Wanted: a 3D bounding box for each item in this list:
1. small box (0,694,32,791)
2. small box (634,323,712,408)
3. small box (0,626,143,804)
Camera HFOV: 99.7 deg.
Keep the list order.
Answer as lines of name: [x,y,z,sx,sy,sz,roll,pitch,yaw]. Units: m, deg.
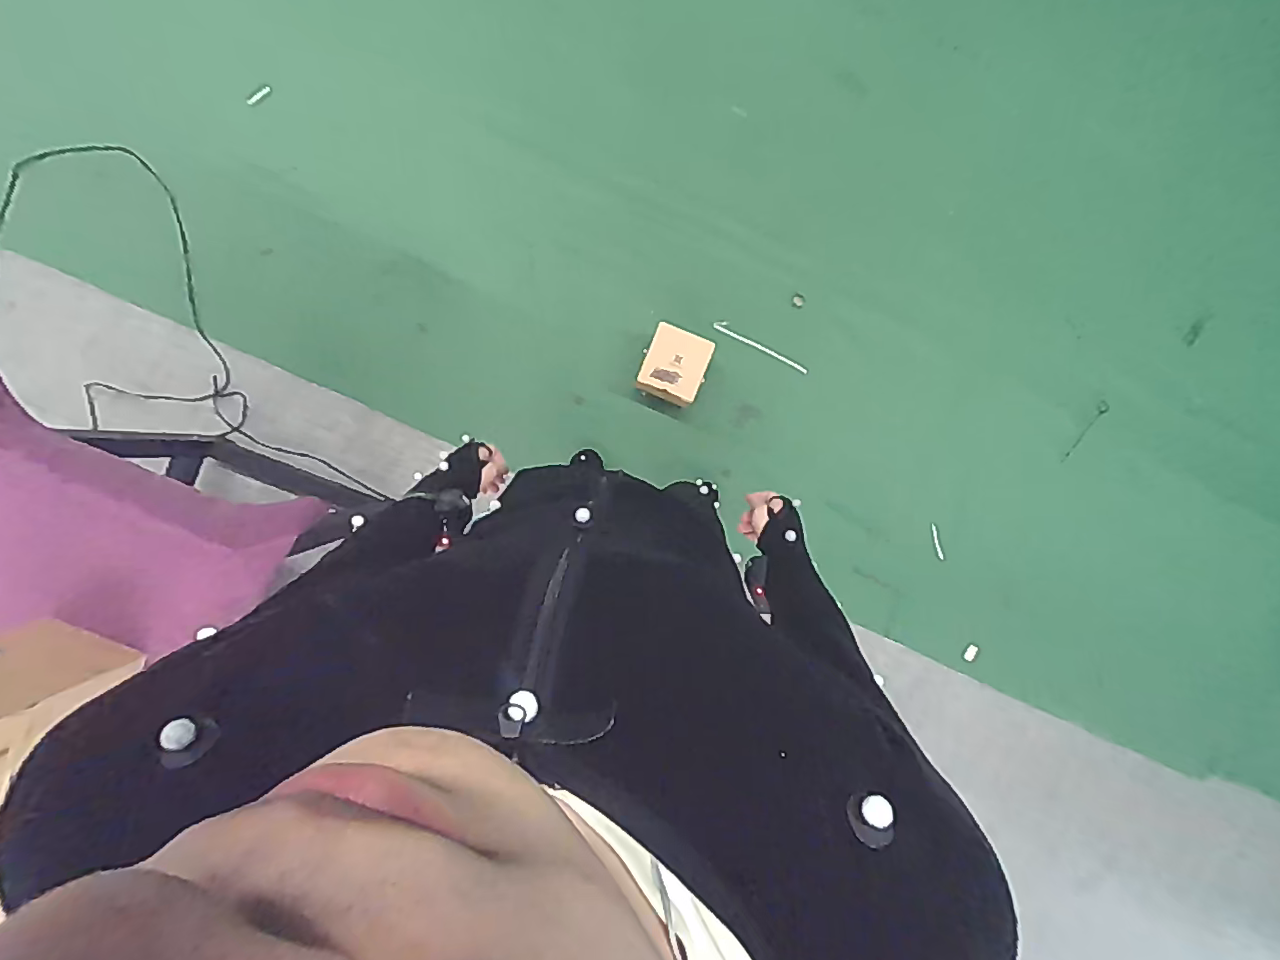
small box: [-0.918,0.345,0.642,0.179,0.176,0.168,23,92,-3]
small box: [0.088,-0.317,1.543,0.168,0.176,0.179,22,91,-3]
small box: [-0.919,0.337,0.805,0.179,0.176,0.168,23,93,-3]
